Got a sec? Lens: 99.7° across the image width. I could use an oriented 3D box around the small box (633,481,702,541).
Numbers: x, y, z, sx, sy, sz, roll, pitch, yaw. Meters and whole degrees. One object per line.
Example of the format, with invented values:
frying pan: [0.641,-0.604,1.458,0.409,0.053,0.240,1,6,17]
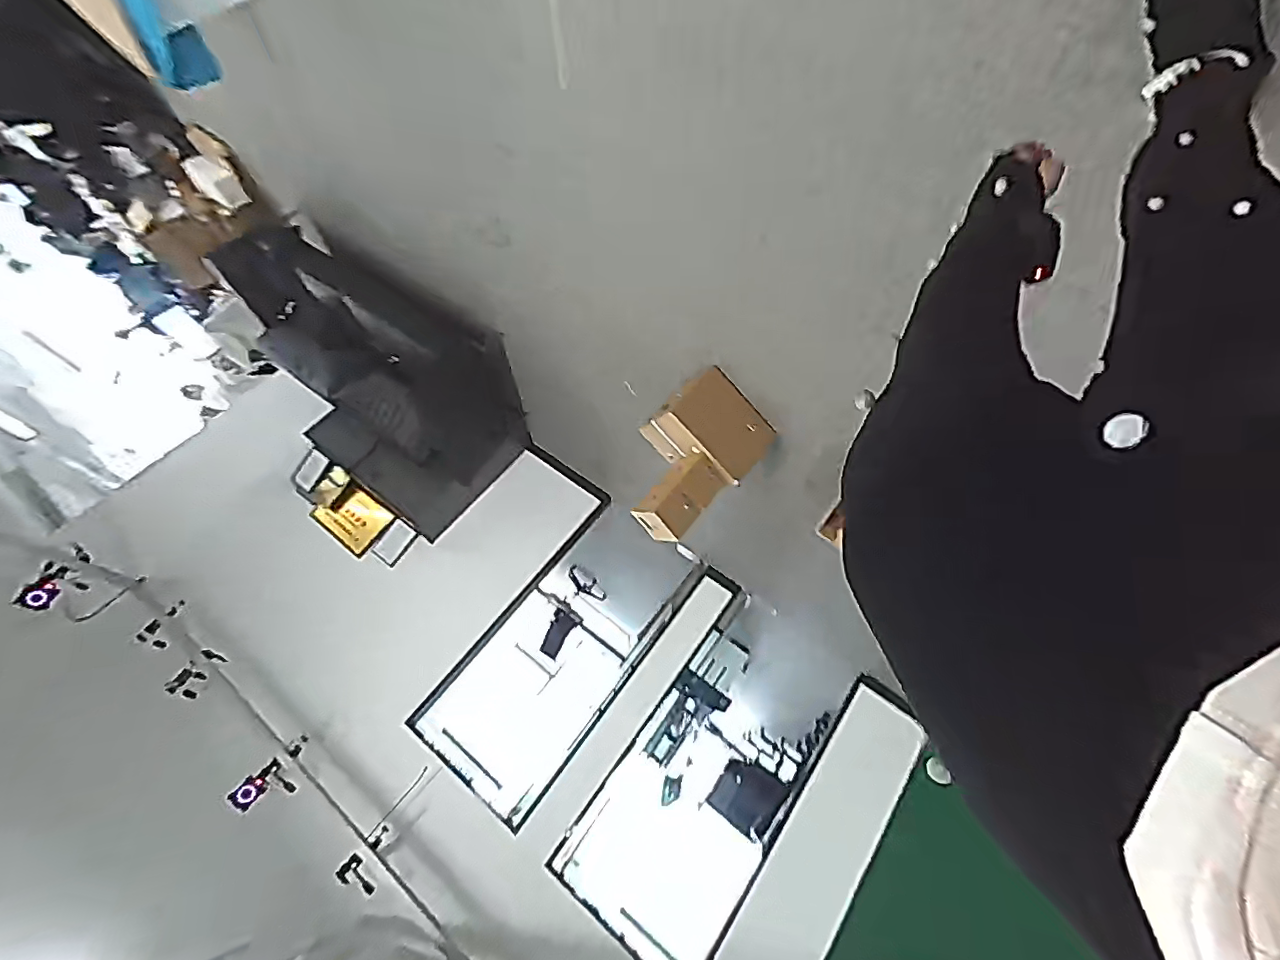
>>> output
small box: [0.111,0.119,2.137,0.168,0.176,0.179,50,155,-20]
